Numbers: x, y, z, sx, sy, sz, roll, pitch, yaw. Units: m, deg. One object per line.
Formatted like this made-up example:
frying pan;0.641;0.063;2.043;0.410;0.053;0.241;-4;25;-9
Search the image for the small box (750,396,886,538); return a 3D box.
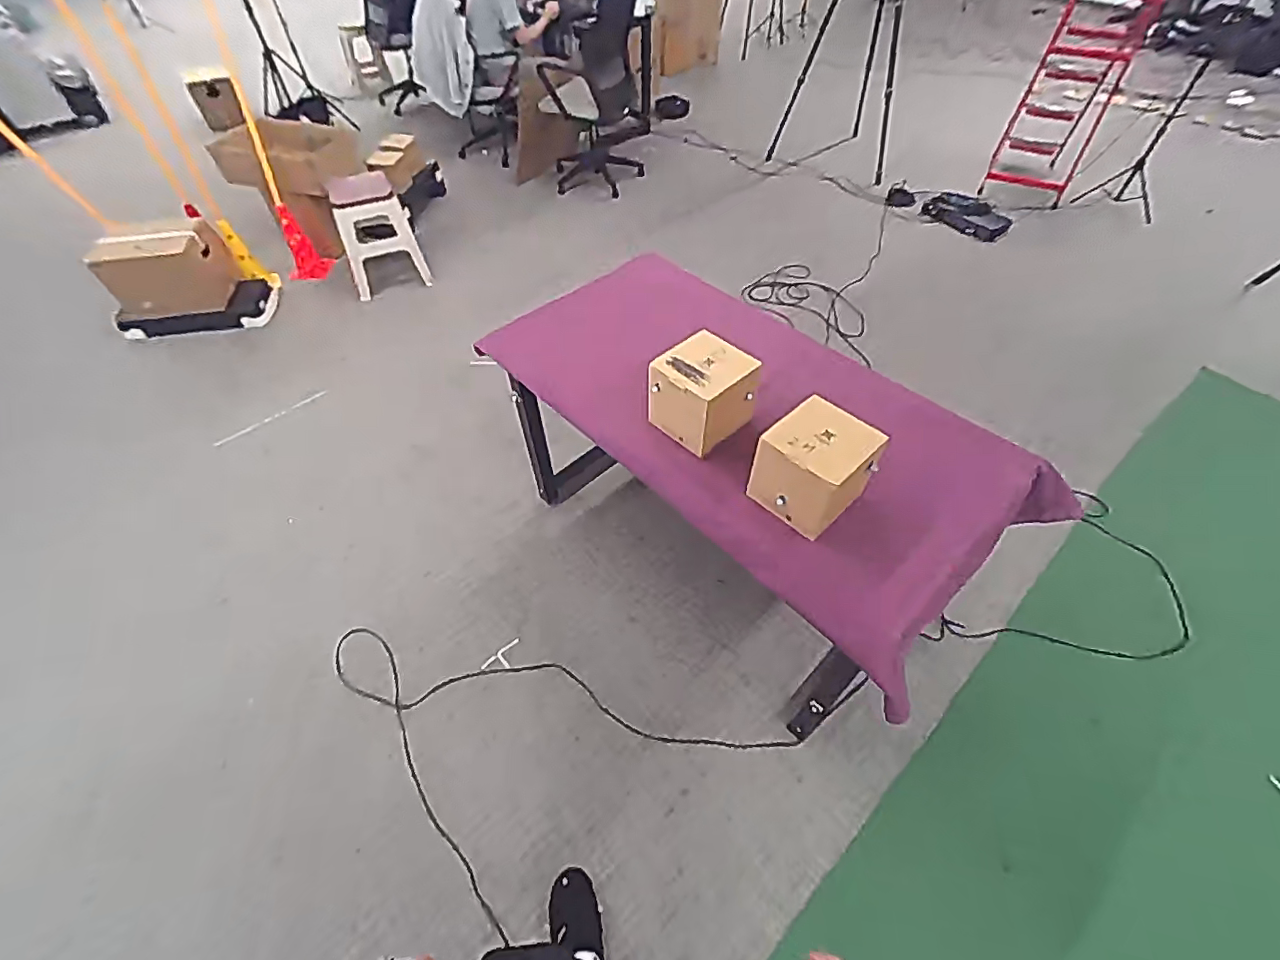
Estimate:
small box;0.332;-0.024;1.046;0.179;0.176;0.168;-36;58;-26
